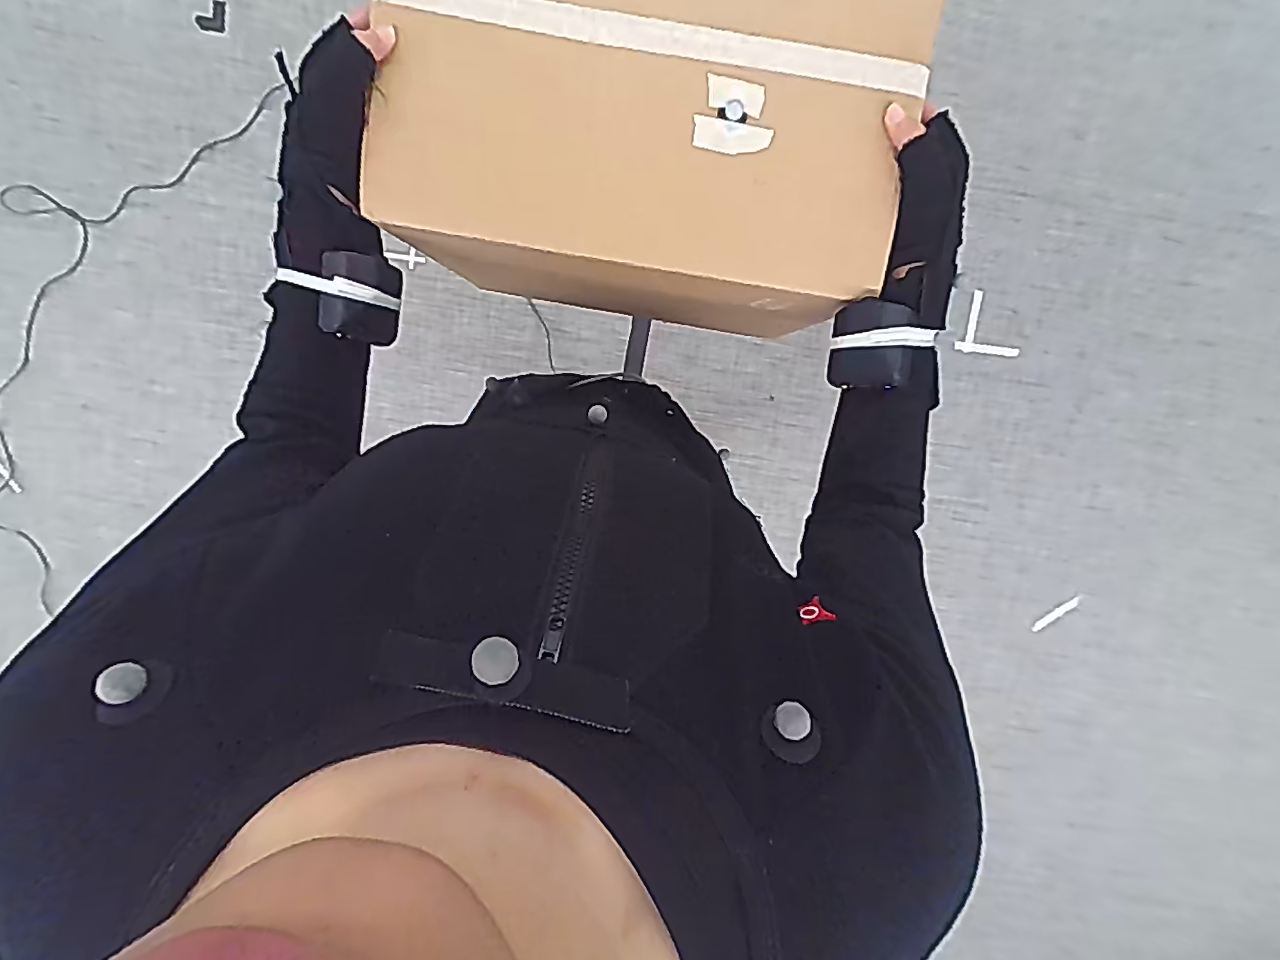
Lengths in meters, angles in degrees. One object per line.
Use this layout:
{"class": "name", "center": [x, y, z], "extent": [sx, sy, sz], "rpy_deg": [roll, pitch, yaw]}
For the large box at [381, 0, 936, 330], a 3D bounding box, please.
{"class": "large box", "center": [0.010, -0.351, 0.550], "extent": [0.408, 0.320, 0.320], "rpy_deg": [9, 100, -2]}
